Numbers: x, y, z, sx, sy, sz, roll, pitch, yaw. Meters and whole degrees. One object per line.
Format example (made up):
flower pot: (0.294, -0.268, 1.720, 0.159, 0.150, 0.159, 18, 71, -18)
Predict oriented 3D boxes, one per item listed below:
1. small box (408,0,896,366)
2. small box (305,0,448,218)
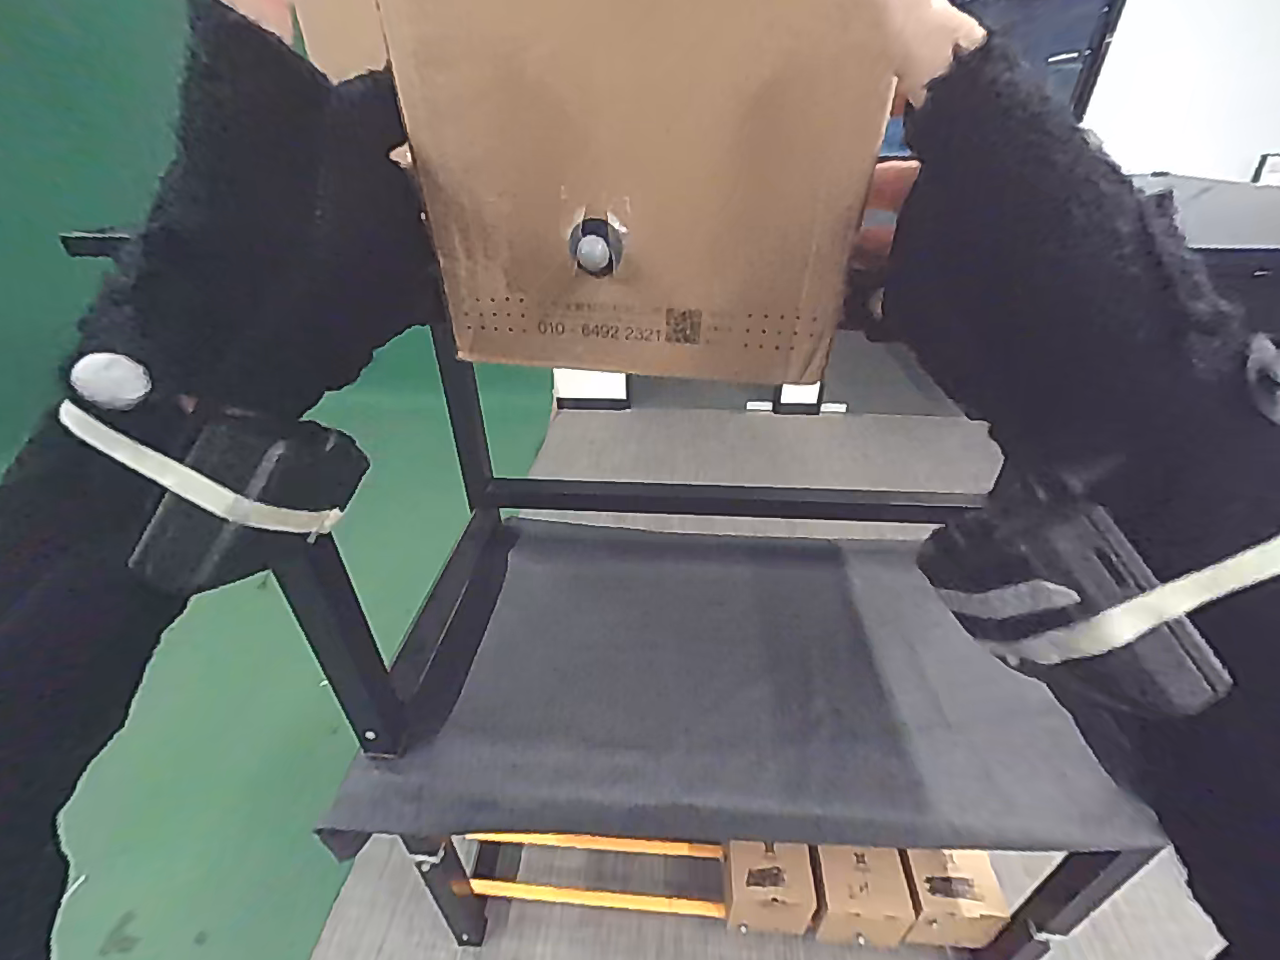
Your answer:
small box: (0.008, -0.173, 0.258, 0.168, 0.176, 0.179, 5, 39, 6)
small box: (-0.180, -0.350, 0.512, 0.168, 0.176, 0.179, -5, 34, -6)
